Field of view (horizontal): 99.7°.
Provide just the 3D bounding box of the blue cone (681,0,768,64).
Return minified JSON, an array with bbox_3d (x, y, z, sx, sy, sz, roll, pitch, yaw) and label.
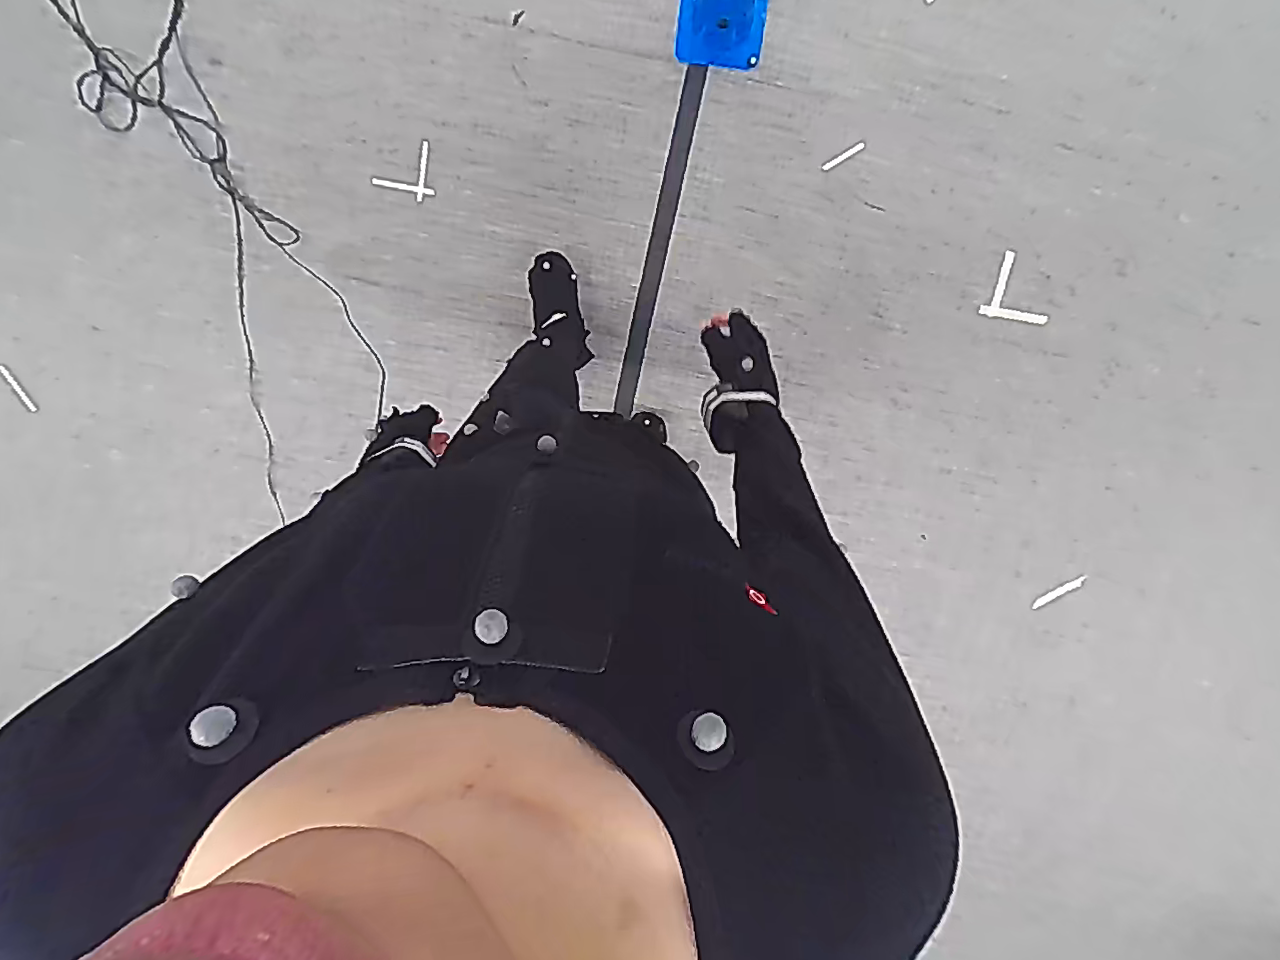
[{"bbox_3d":[0.193,-1.029,1.073,0.192,0.380,0.193,9,103,-2],"label":"blue cone"}]
